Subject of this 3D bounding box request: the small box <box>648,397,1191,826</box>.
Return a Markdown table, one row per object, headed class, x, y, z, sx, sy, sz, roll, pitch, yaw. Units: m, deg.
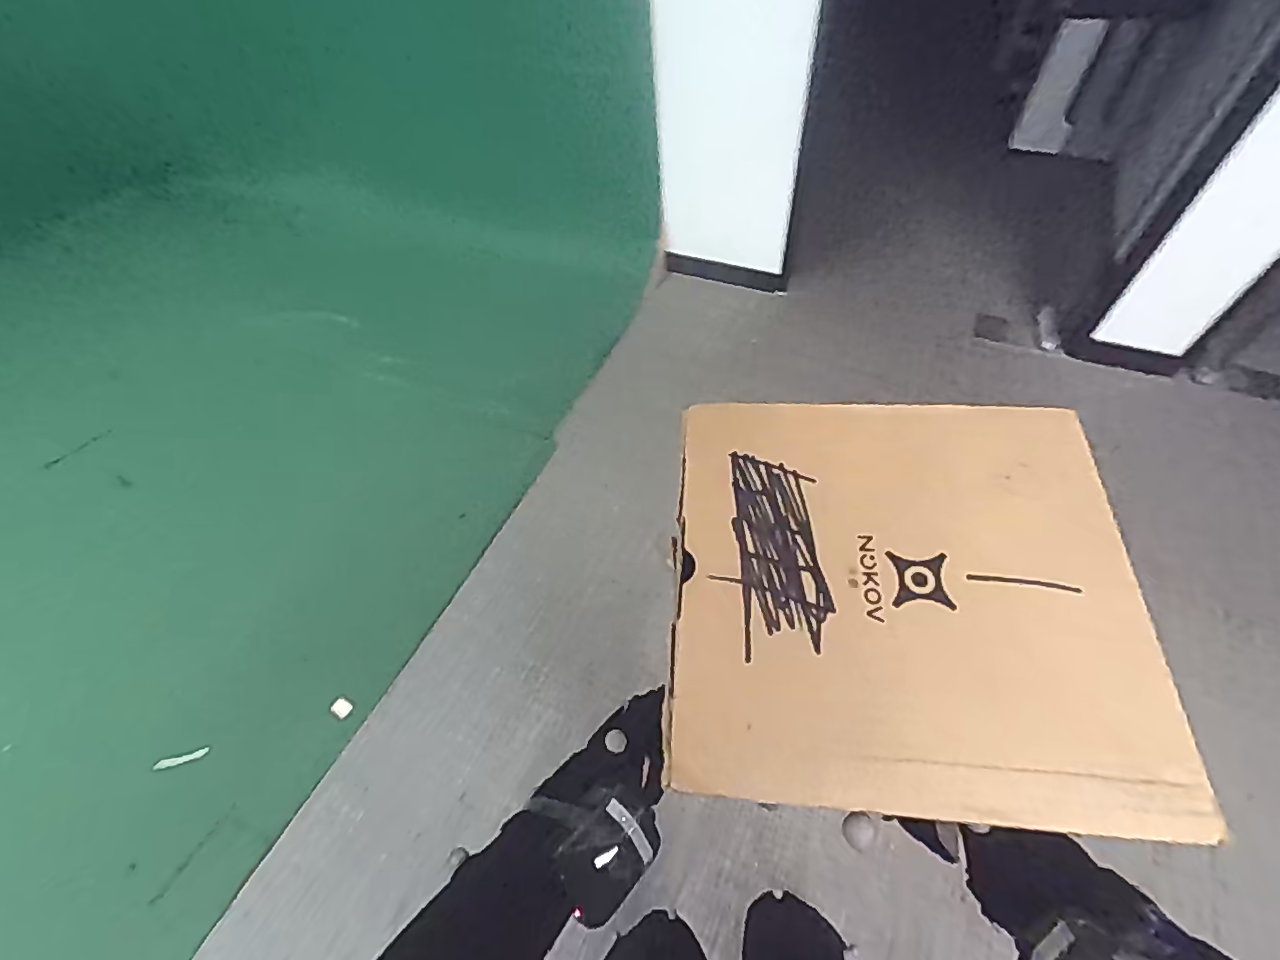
| class | x | y | z | sx | sy | sz | roll | pitch | yaw |
| --- | --- | --- | --- | --- | --- | --- | --- | --- | --- |
| small box | 0.103 | 0.073 | 0.287 | 0.179 | 0.176 | 0.168 | 2 | 63 | 6 |
